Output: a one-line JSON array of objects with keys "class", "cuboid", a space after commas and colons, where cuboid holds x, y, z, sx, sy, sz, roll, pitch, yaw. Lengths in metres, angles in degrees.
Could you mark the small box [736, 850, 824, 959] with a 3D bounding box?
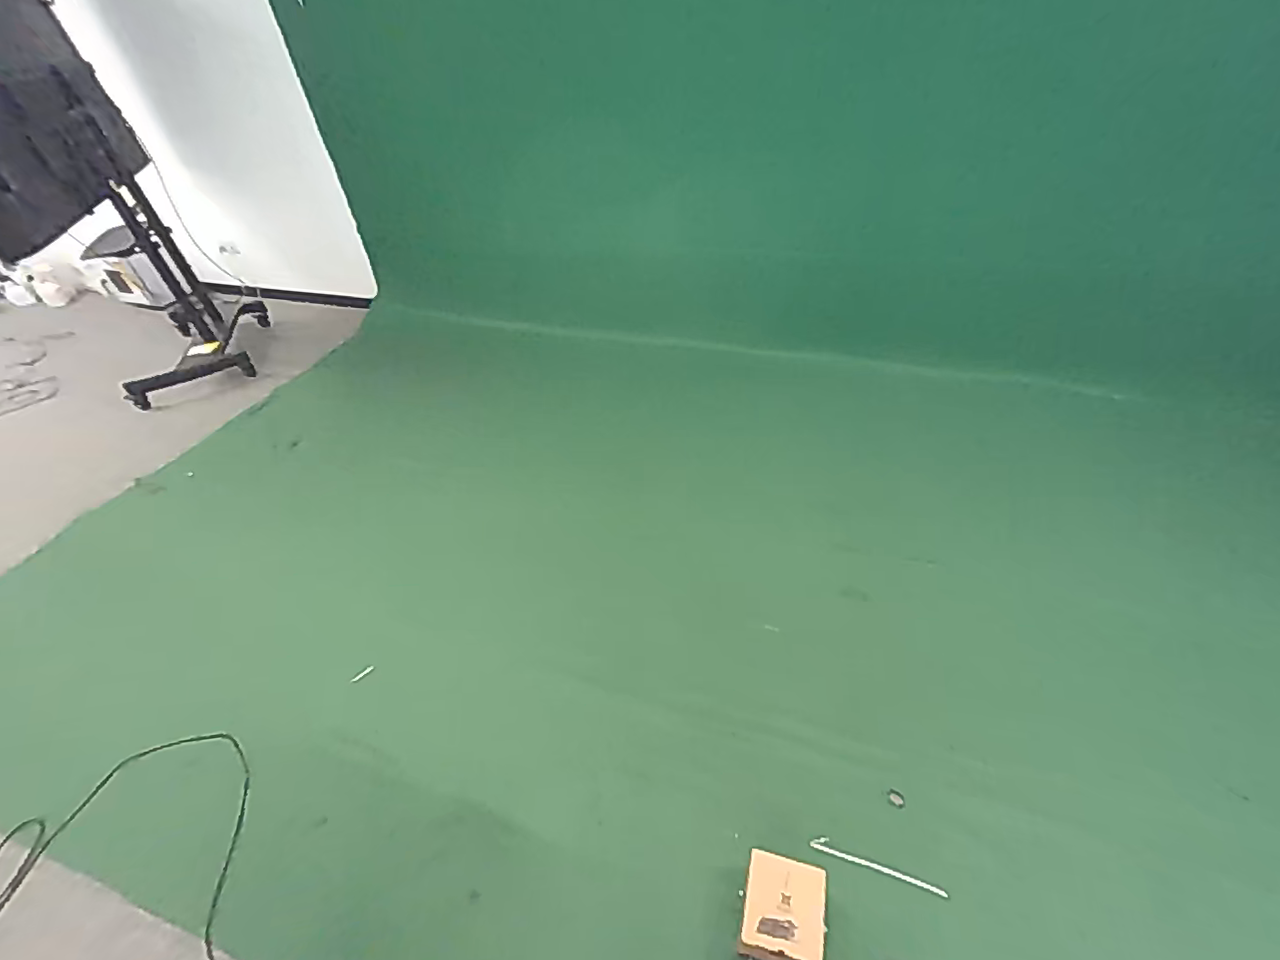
[{"class": "small box", "cuboid": [0.312, 0.981, 1.218, 0.168, 0.176, 0.179, 9, 43, 14]}]
